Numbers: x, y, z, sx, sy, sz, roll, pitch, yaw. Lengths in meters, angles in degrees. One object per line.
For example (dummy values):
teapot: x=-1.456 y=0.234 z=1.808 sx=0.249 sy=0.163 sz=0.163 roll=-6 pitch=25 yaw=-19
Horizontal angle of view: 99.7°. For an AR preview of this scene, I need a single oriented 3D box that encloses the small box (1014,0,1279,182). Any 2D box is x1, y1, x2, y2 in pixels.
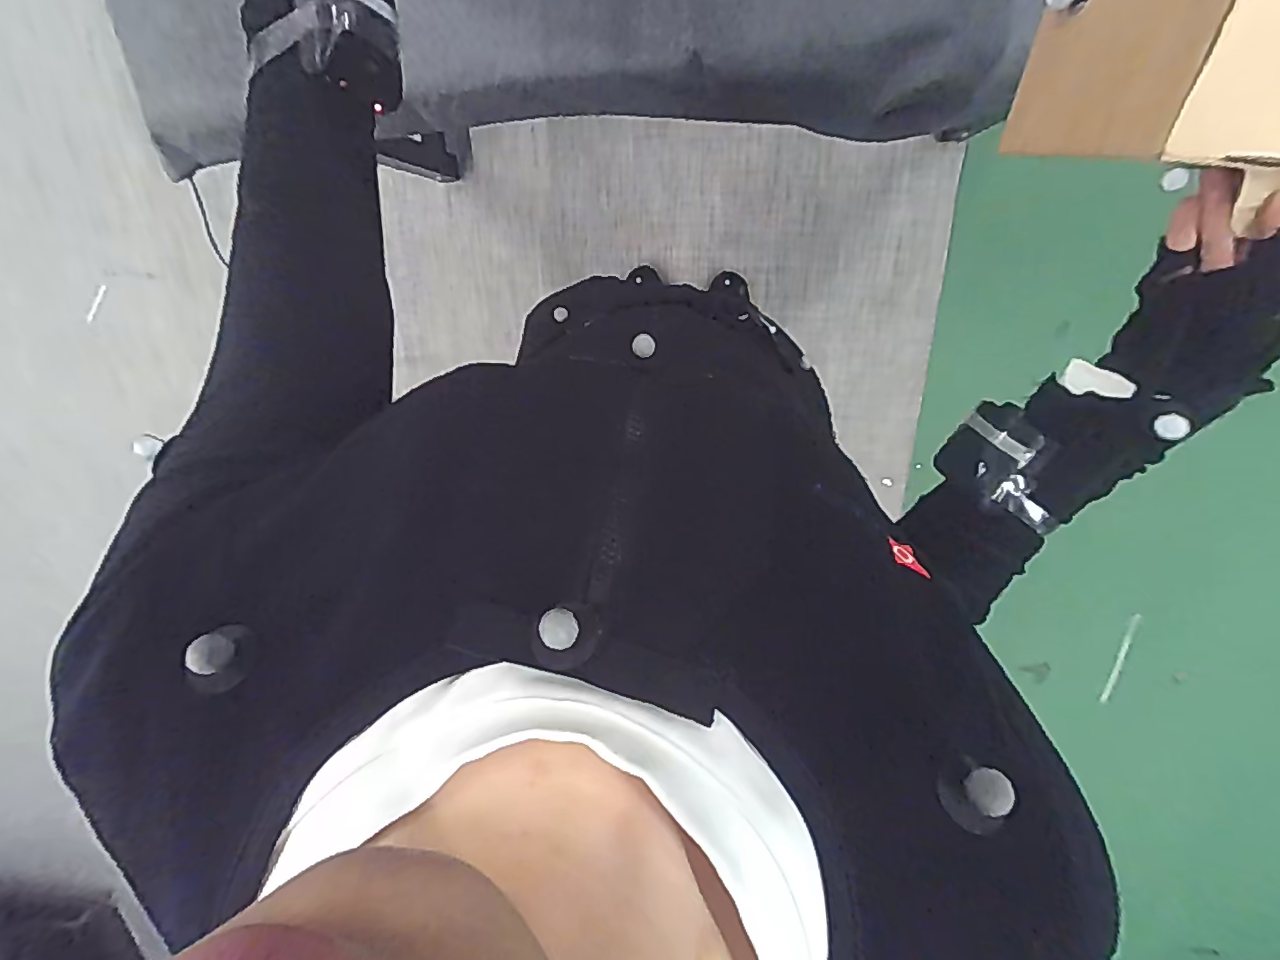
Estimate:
small box: x=0.351 y=-0.269 z=0.297 sx=0.168 sy=0.176 sz=0.179 roll=4 pitch=123 yaw=2
